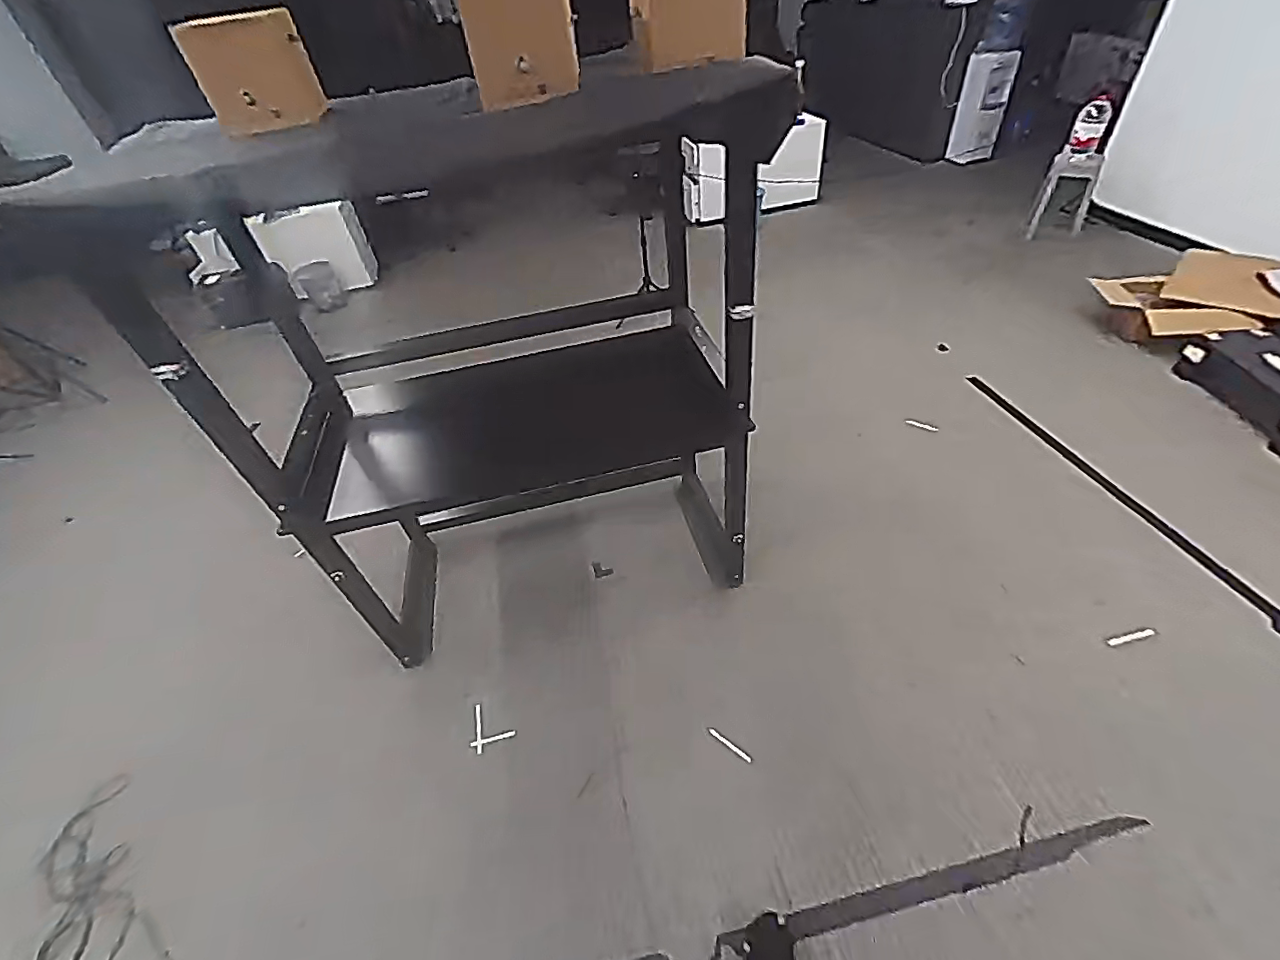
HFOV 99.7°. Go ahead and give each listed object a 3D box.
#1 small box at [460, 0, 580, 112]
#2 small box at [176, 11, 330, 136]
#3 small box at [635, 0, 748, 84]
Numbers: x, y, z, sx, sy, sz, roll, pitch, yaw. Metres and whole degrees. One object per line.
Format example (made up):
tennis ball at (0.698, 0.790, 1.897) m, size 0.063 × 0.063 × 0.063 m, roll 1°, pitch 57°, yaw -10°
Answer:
small box at (-0.206, -0.751, 0.929) m, size 0.168 × 0.176 × 0.179 m, roll -13°, pitch 43°, yaw -5°
small box at (-0.731, -0.787, 1.049) m, size 0.168 × 0.176 × 0.179 m, roll -14°, pitch 45°, yaw -6°
small box at (0.085, -0.818, 0.955) m, size 0.168 × 0.176 × 0.179 m, roll -13°, pitch 43°, yaw -3°
